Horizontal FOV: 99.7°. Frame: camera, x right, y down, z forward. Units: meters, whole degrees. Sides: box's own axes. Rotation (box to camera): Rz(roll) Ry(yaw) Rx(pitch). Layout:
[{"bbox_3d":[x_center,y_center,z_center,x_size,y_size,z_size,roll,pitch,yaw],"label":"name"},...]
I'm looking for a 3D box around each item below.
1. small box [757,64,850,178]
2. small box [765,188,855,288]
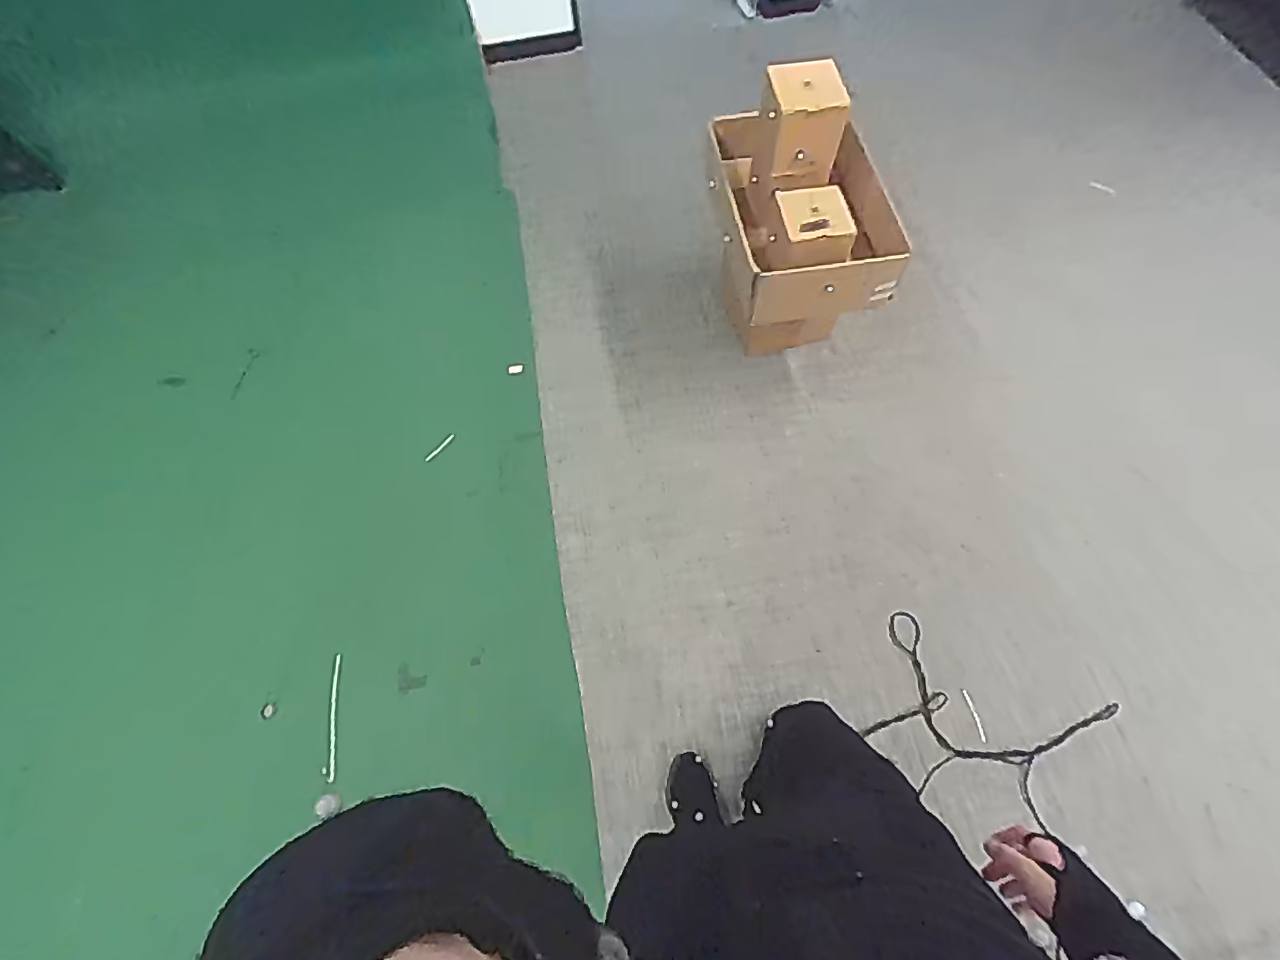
[{"bbox_3d":[0.403,-0.901,1.365,0.168,0.176,0.179,-7,67,-1],"label":"small box"},{"bbox_3d":[0.435,-0.622,1.411,0.168,0.176,0.179,-7,64,-1],"label":"small box"}]
